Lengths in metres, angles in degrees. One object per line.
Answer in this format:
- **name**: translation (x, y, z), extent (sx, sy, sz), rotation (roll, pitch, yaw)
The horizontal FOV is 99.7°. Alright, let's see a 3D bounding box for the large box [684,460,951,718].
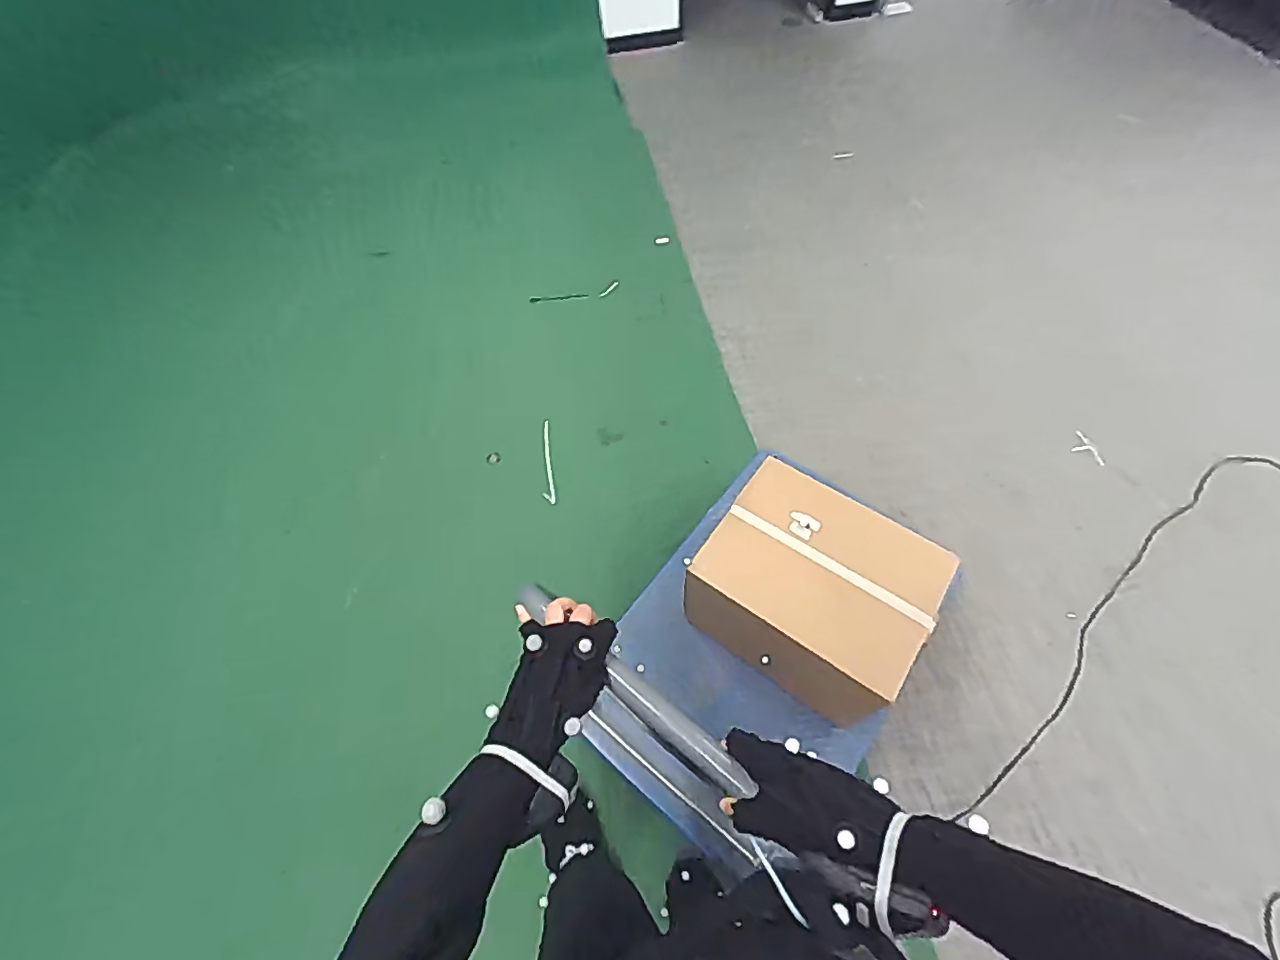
- **large box**: translation (0.342, 0.232, 1.136), extent (0.408, 0.320, 0.320), rotation (31, 65, 21)
